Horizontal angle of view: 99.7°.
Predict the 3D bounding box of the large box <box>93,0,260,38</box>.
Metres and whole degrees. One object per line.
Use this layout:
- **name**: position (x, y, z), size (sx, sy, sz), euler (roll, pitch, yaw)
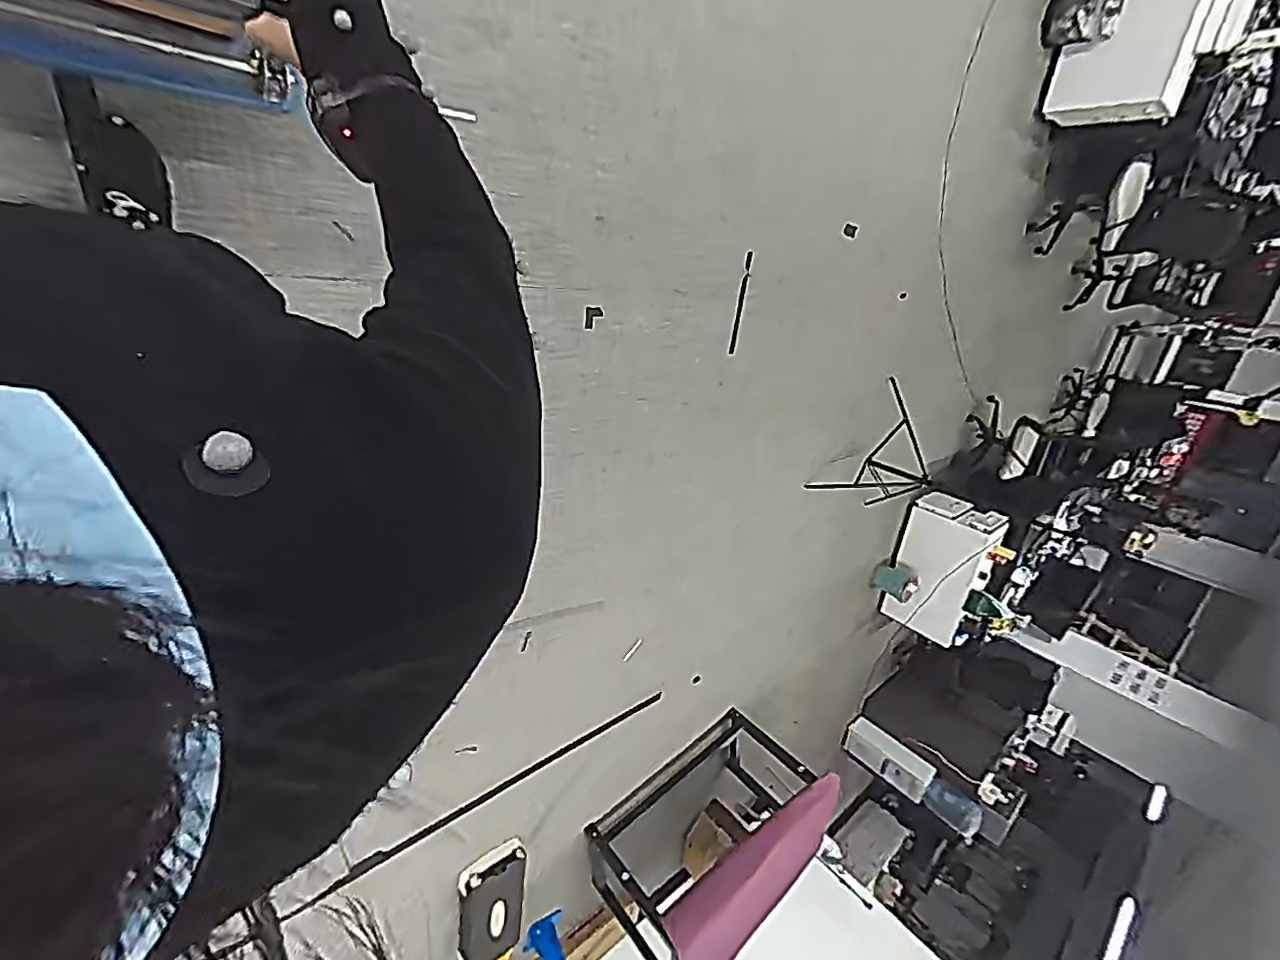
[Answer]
- **large box**: position (-0.704, -0.779, 0.609), size (0.408, 0.320, 0.320), euler (-13, 120, -40)
